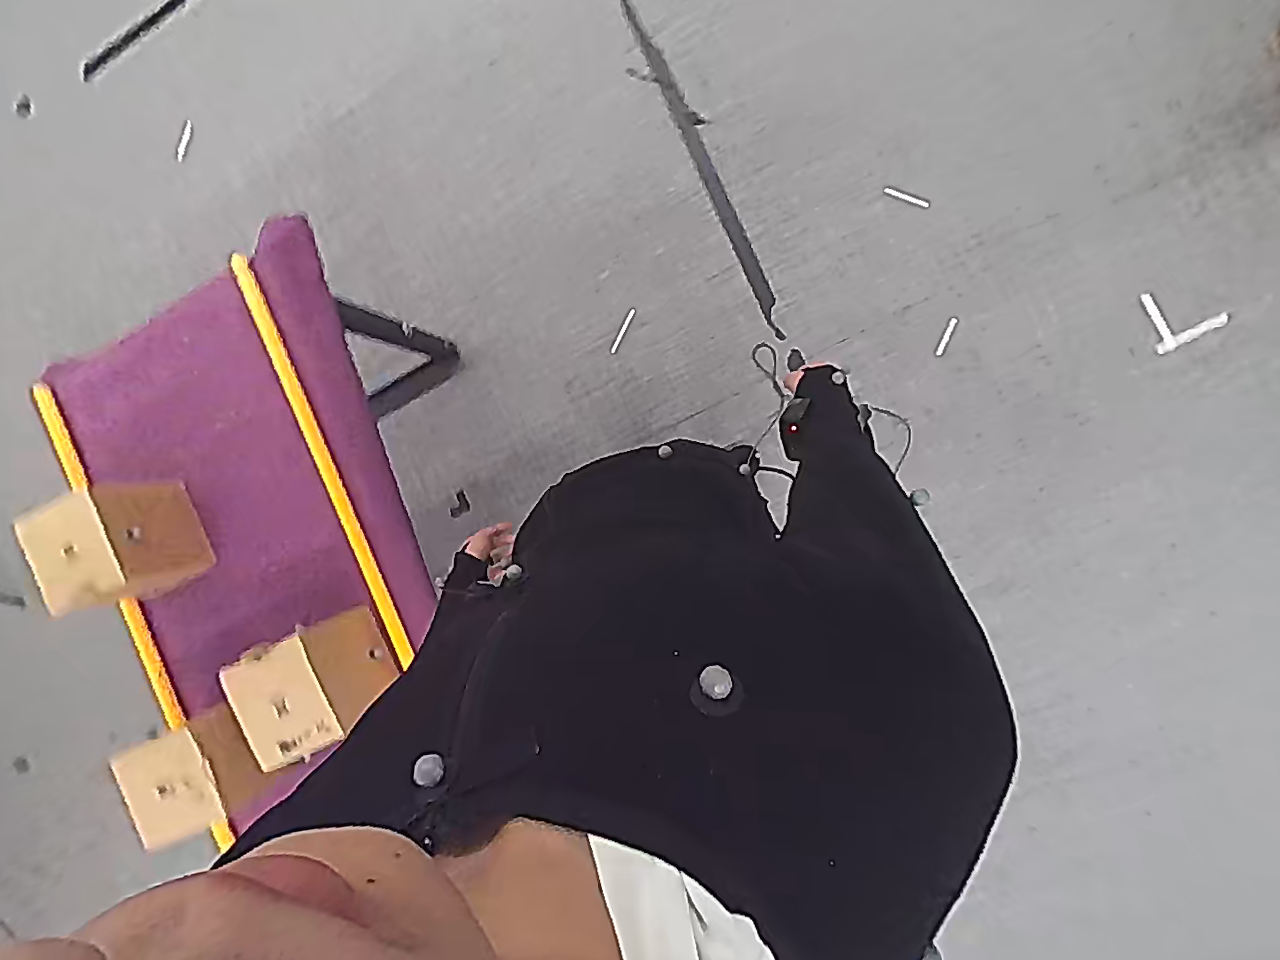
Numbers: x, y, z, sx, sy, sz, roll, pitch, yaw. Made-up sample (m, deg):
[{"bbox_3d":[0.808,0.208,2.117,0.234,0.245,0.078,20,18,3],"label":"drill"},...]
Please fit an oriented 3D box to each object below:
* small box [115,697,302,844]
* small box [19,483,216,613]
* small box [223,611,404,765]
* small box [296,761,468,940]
[{"bbox_3d":[-0.764,0.500,0.974,0.179,0.176,0.168,-24,89,8],"label":"small box"},{"bbox_3d":[-0.937,0.114,0.985,0.168,0.176,0.179,-24,89,9],"label":"small box"},{"bbox_3d":[-0.548,0.341,0.929,0.168,0.176,0.179,-26,88,10],"label":"small box"},{"bbox_3d":[-0.428,0.611,0.919,0.168,0.176,0.179,-26,86,11],"label":"small box"}]
